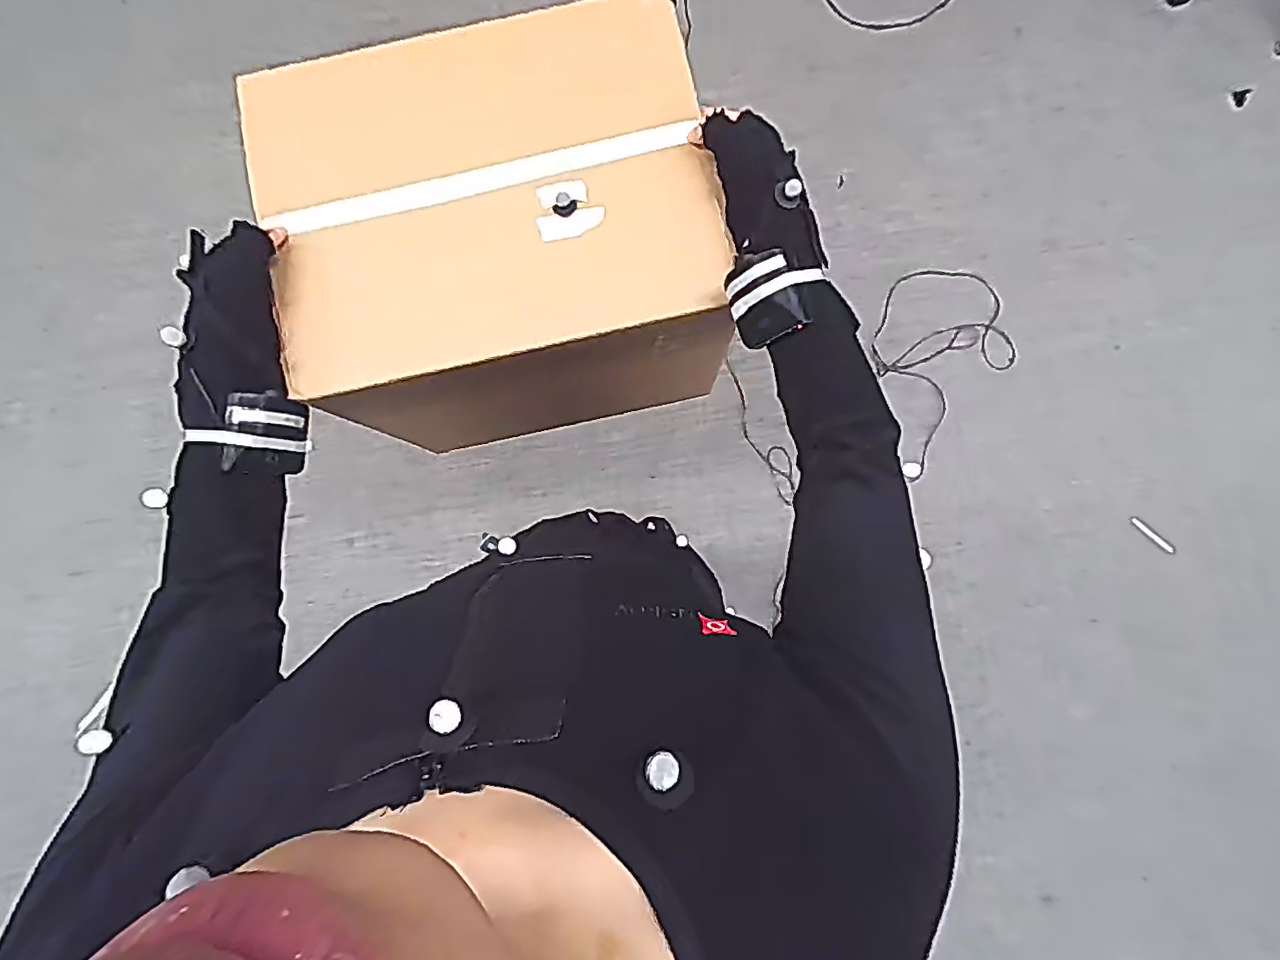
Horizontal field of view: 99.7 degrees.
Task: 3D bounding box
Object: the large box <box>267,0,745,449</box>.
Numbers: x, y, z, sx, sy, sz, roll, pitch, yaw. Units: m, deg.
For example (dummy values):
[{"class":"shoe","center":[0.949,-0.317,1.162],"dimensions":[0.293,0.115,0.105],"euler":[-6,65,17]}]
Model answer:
[{"class":"large box","center":[-0.129,-0.252,0.645],"dimensions":[0.408,0.320,0.320],"euler":[-13,84,0]}]
